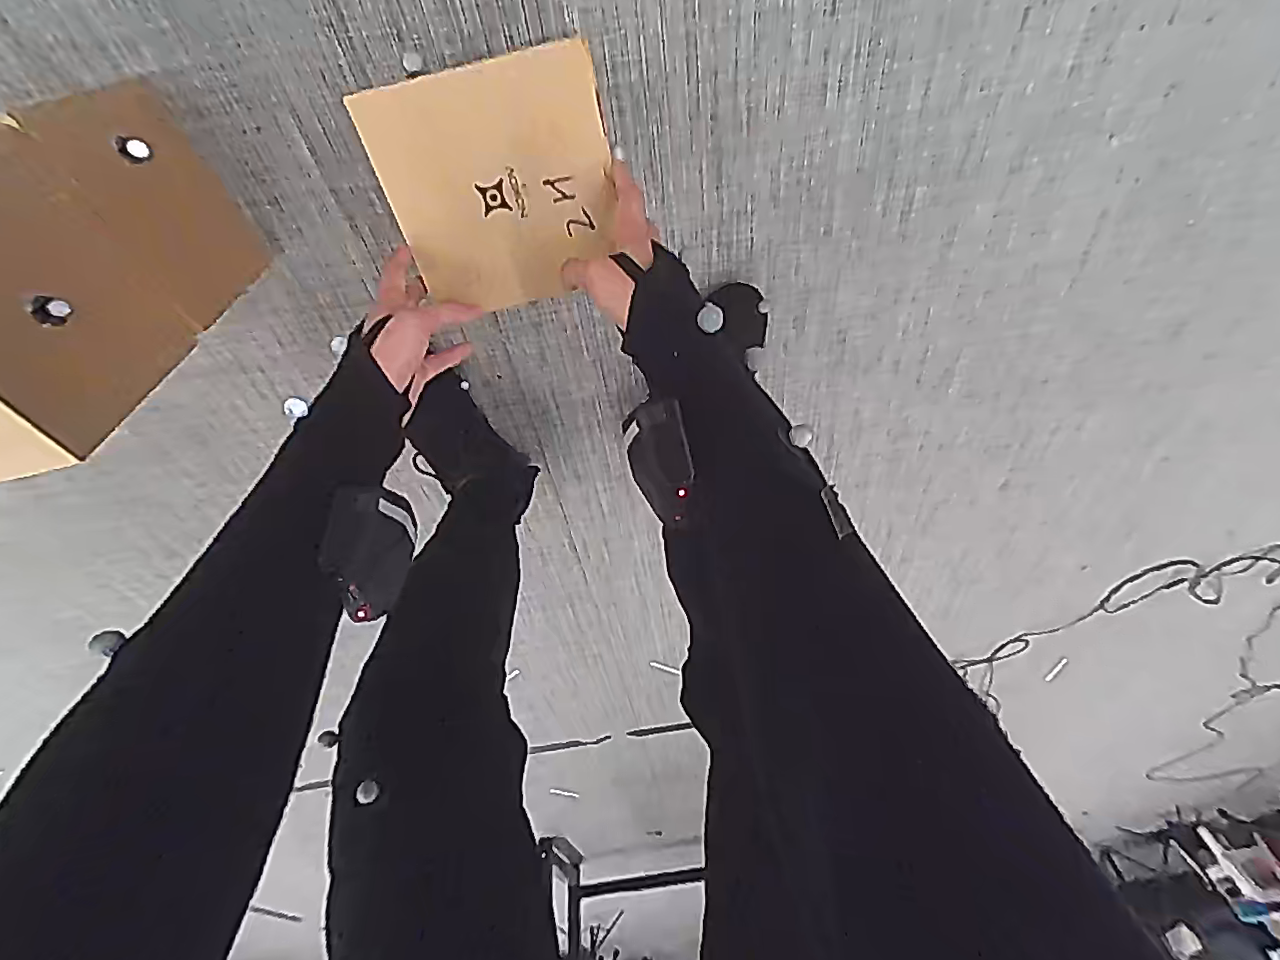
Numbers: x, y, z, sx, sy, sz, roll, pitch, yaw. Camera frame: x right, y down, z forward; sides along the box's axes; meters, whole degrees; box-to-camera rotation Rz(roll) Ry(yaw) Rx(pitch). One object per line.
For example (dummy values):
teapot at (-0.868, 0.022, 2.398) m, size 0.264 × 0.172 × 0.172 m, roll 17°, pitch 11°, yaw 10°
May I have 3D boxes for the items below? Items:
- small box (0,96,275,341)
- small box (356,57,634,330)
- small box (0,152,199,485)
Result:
small box at (-0.491, -0.228, 0.497) m, size 0.168 × 0.176 × 0.179 m, roll -13°, pitch 134°, yaw 5°
small box at (-0.109, -0.256, 0.485) m, size 0.179 × 0.176 × 0.168 m, roll -12°, pitch 127°, yaw 1°
small box at (-0.482, -0.111, 0.382) m, size 0.168 × 0.176 × 0.179 m, roll -11°, pitch 134°, yaw 4°
